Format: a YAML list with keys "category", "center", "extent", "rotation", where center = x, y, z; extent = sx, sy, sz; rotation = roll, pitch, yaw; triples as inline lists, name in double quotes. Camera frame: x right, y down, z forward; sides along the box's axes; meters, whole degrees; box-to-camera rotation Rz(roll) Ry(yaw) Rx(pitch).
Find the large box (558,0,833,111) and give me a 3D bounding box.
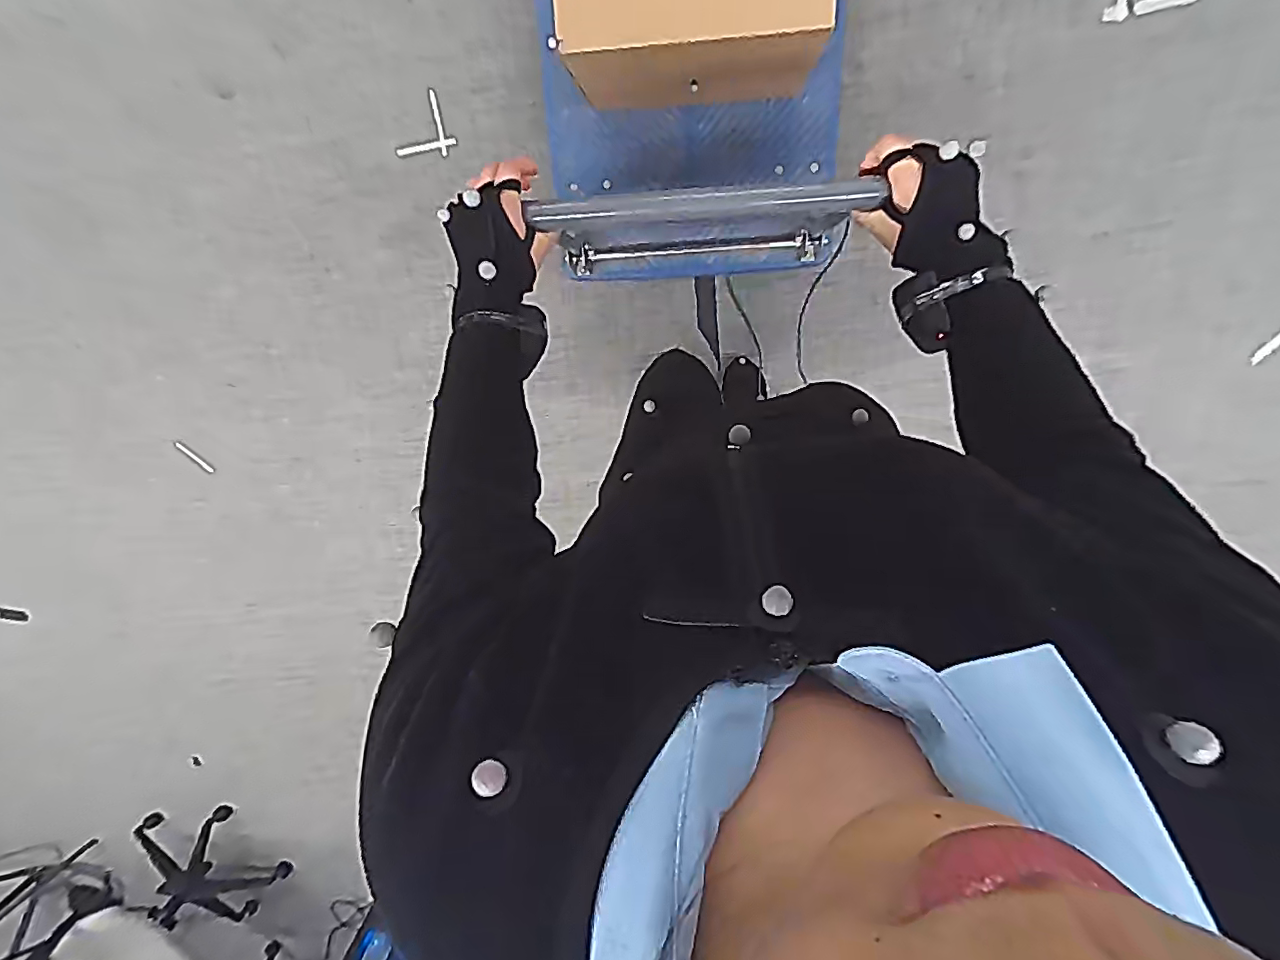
- category: "large box"
  center: [0.090, -0.844, 0.890]
  extent: [0.408, 0.320, 0.320]
  rotation: [0, 109, 8]
